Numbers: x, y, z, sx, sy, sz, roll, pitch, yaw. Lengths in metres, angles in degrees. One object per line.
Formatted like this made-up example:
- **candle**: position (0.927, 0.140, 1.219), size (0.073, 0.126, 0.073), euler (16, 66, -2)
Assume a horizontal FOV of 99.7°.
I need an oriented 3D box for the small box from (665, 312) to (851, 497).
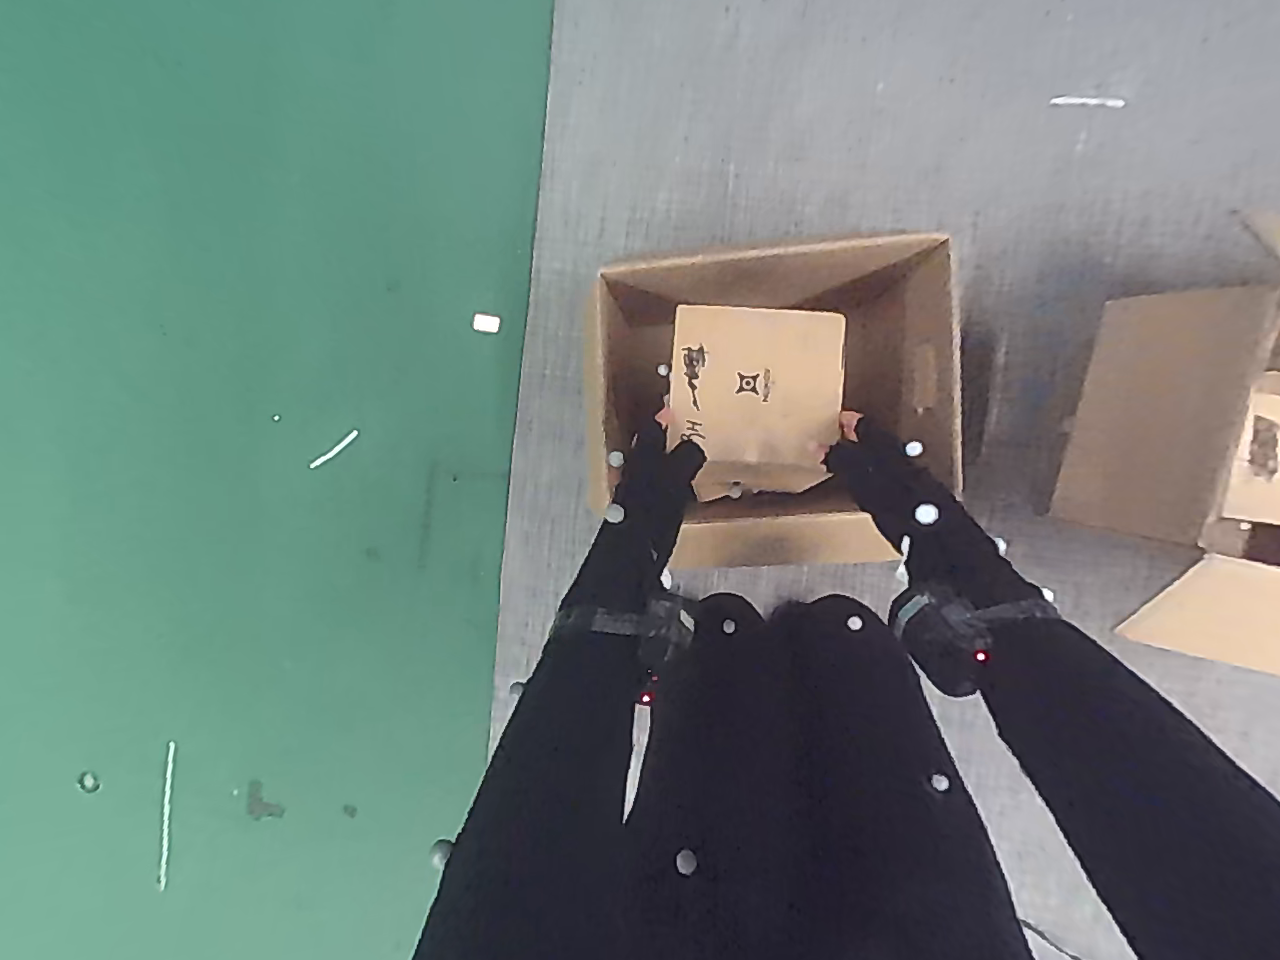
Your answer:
- **small box**: position (0.125, -0.075, 0.626), size (0.179, 0.176, 0.168), euler (5, 81, 2)
